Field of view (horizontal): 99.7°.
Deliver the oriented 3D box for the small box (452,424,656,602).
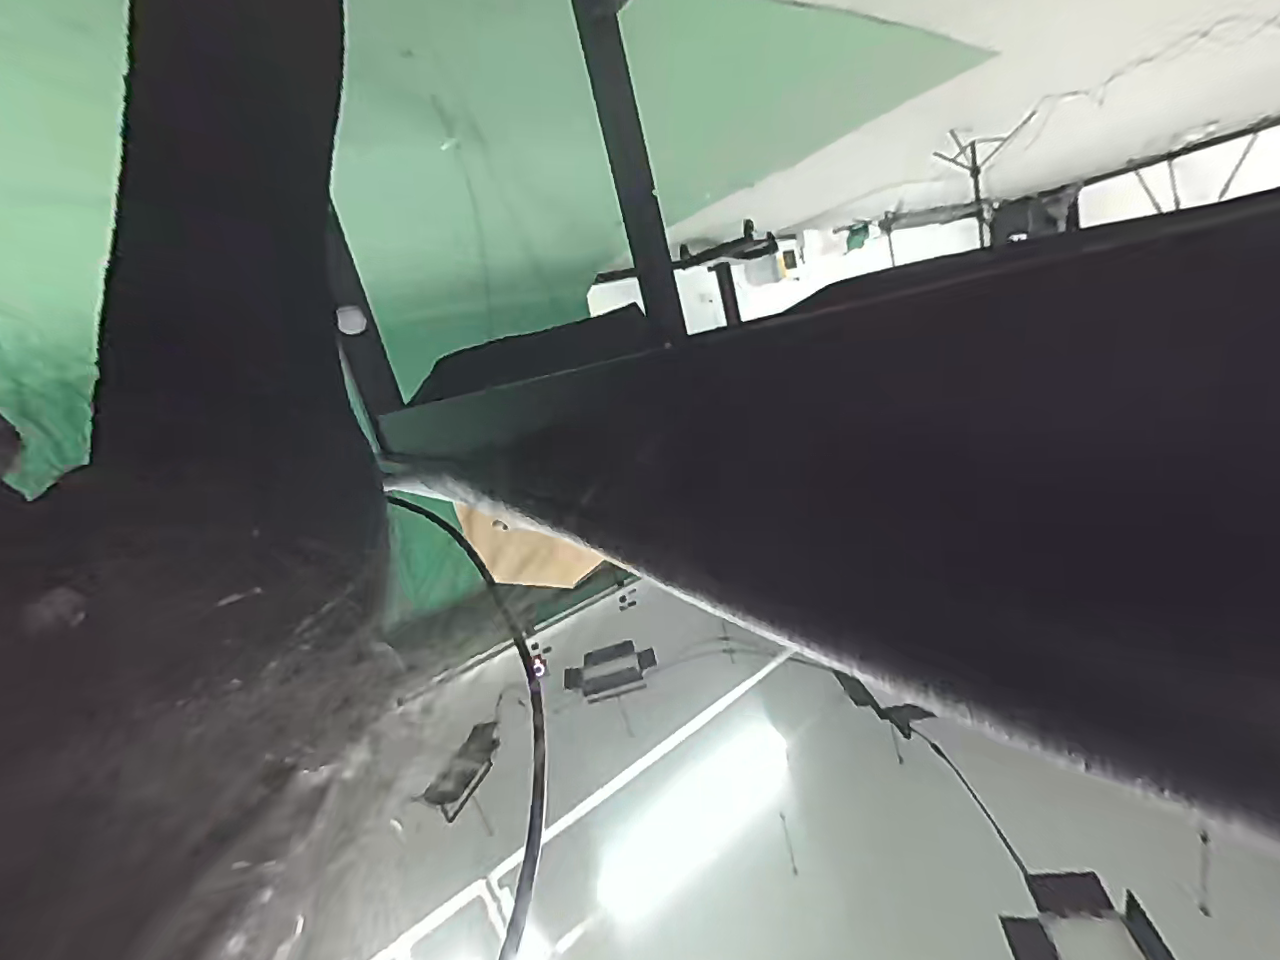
[{"bbox_3d":[-0.110,0.038,0.701,0.168,0.176,0.179,-5,-162,37],"label":"small box"}]
